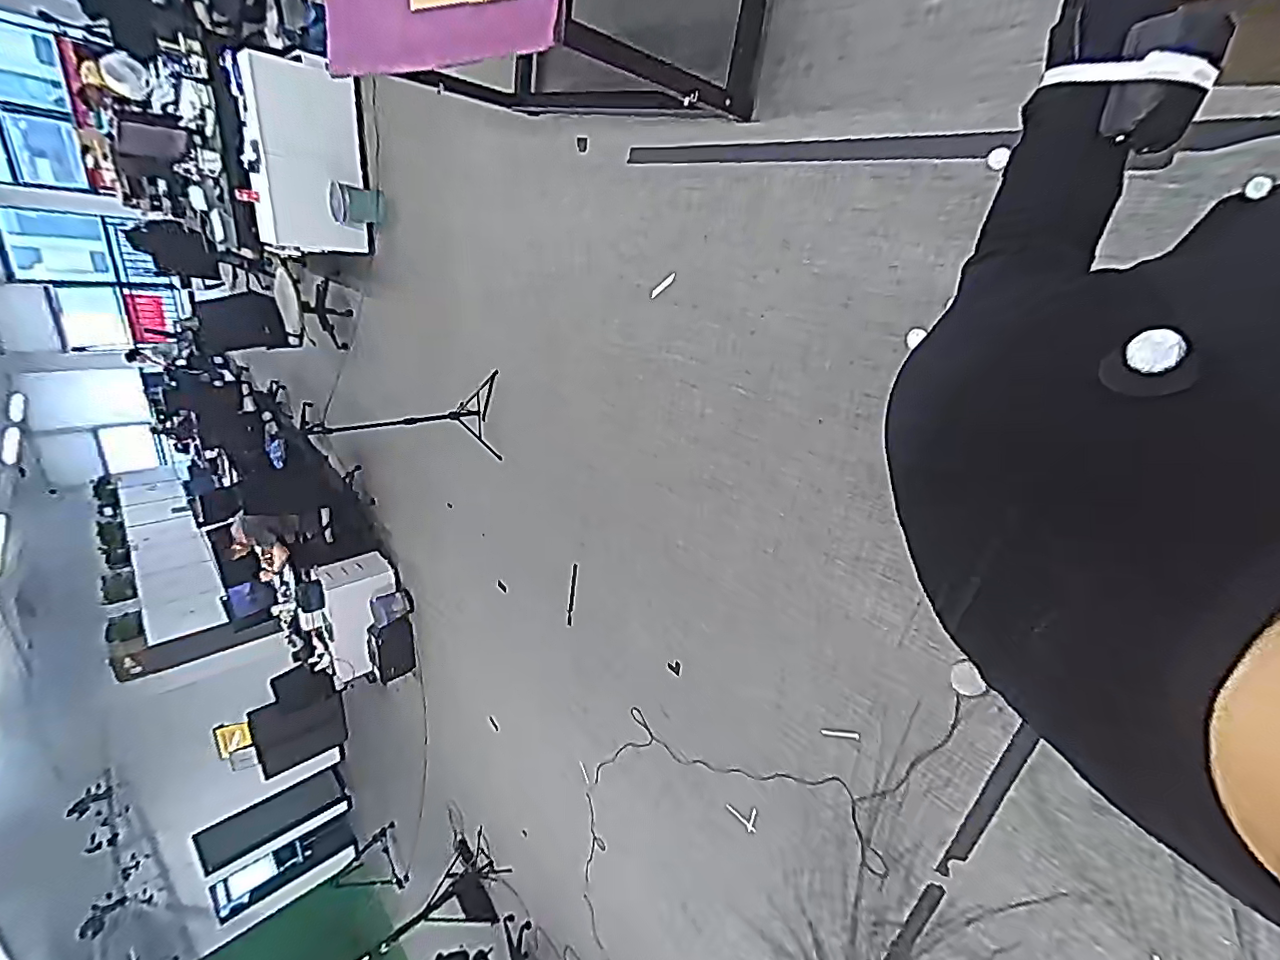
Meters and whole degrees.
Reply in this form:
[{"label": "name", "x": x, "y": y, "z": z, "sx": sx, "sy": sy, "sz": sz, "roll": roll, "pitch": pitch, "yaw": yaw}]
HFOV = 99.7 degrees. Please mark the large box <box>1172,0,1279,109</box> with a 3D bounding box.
[{"label": "large box", "x": 0.577, "y": -0.390, "z": 0.250, "sx": 0.408, "sy": 0.320, "sz": 0.320, "roll": 26, "pitch": 125, "yaw": 36}]
